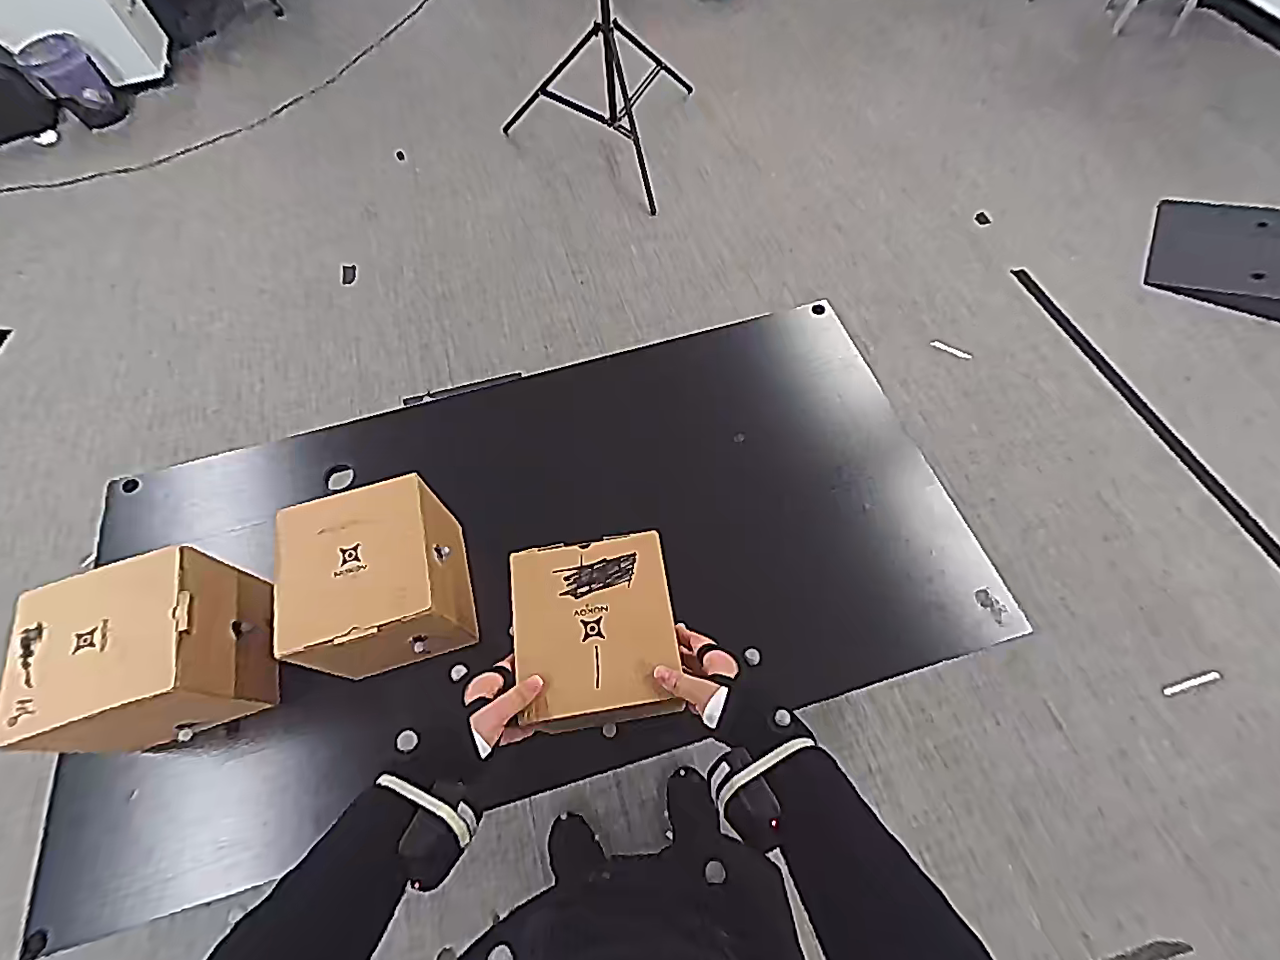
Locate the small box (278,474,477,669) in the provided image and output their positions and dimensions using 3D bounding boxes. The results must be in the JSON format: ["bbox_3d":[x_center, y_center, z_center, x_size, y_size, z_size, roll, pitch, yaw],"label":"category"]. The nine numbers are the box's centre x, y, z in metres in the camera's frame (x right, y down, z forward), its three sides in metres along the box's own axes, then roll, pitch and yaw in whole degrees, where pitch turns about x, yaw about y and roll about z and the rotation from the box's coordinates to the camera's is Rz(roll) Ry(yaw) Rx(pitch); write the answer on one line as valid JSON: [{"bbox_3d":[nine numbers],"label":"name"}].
[{"bbox_3d":[-0.314,0.123,0.671,0.168,0.176,0.179,-16,62,-7],"label":"small box"}]

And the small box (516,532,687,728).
[{"bbox_3d":[-0.043,0.180,0.627,0.168,0.176,0.179,-8,64,-2],"label":"small box"}]

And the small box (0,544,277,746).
[{"bbox_3d":[-0.563,0.200,0.639,0.179,0.176,0.168,-17,63,-8],"label":"small box"}]
